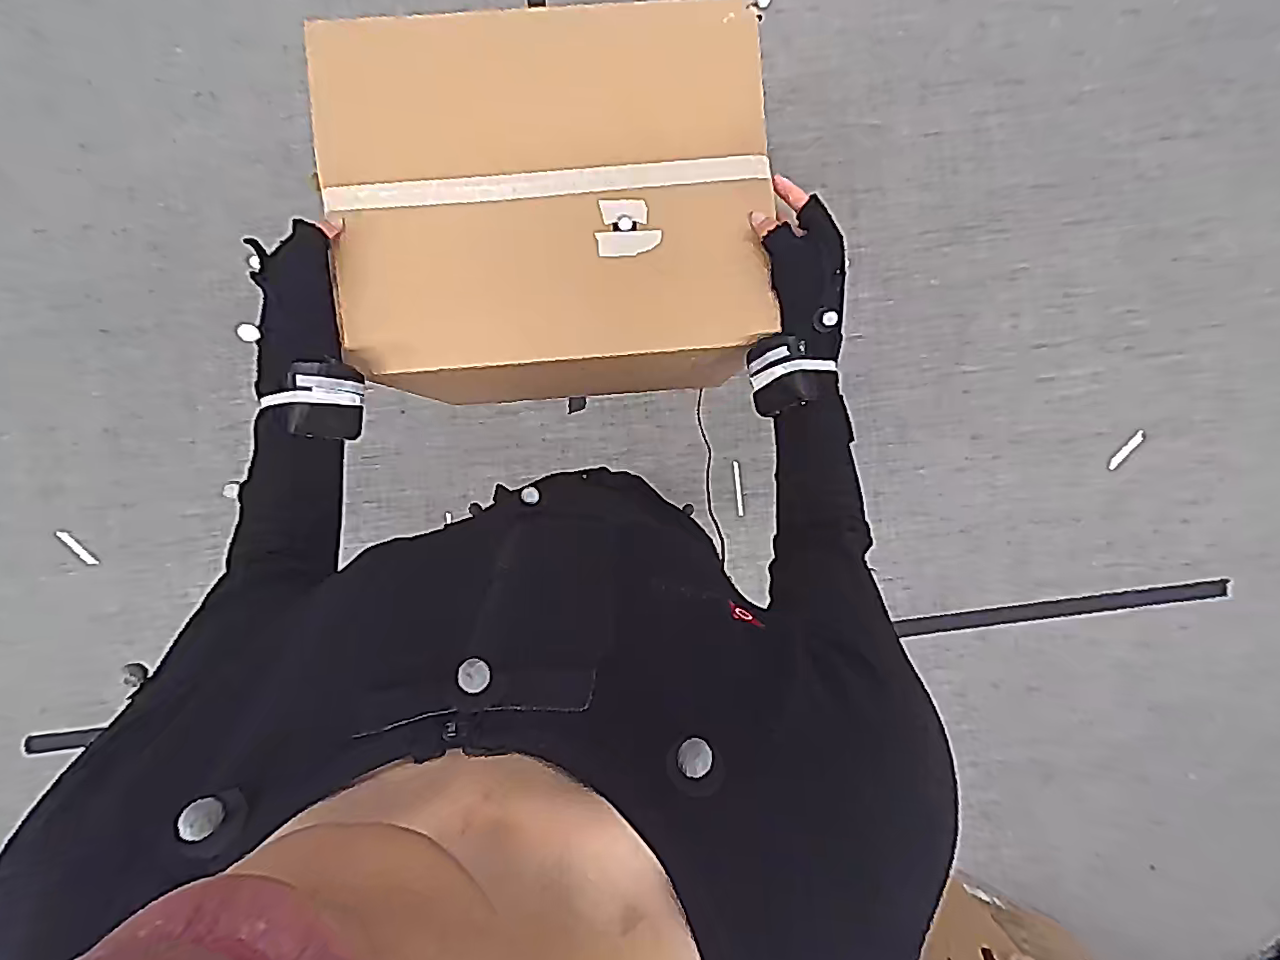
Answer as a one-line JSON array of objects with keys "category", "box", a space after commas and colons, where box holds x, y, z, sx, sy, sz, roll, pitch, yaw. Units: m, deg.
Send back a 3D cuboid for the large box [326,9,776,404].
[{"category": "large box", "box": [-0.087, -0.279, 0.658, 0.408, 0.320, 0.320, -5, 93, -2]}]
